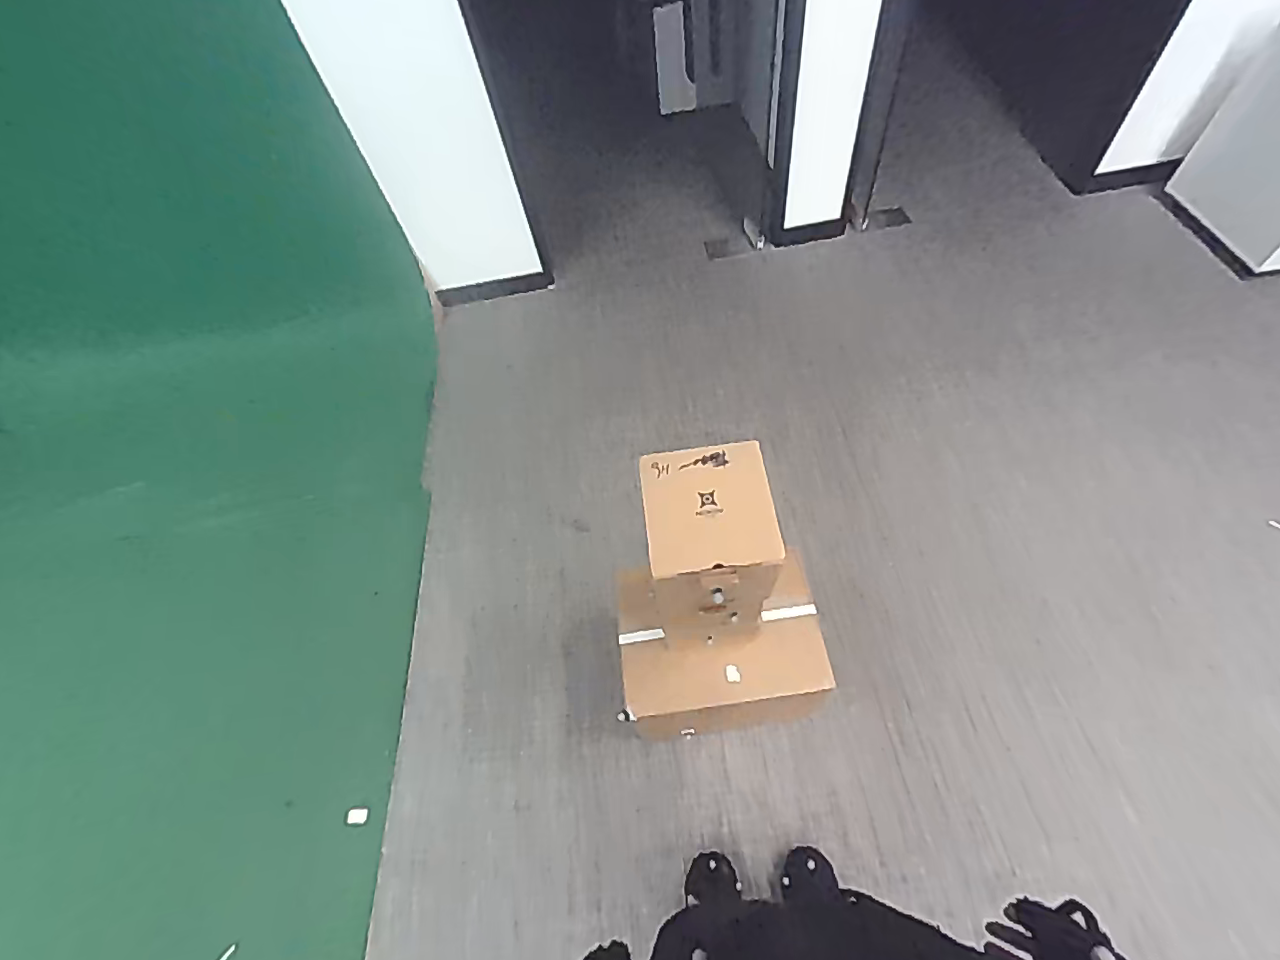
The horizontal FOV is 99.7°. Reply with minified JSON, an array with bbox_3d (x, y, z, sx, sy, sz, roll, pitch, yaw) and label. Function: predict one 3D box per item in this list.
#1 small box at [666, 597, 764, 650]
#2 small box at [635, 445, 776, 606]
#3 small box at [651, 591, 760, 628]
[{"bbox_3d":[0.130,0.226,1.056,0.179,0.176,0.168,-10,63,2],"label":"small box"},{"bbox_3d":[0.090,0.075,0.770,0.168,0.176,0.179,-8,63,3],"label":"small box"},{"bbox_3d":[0.103,0.147,0.917,0.168,0.176,0.179,-7,61,3],"label":"small box"}]
